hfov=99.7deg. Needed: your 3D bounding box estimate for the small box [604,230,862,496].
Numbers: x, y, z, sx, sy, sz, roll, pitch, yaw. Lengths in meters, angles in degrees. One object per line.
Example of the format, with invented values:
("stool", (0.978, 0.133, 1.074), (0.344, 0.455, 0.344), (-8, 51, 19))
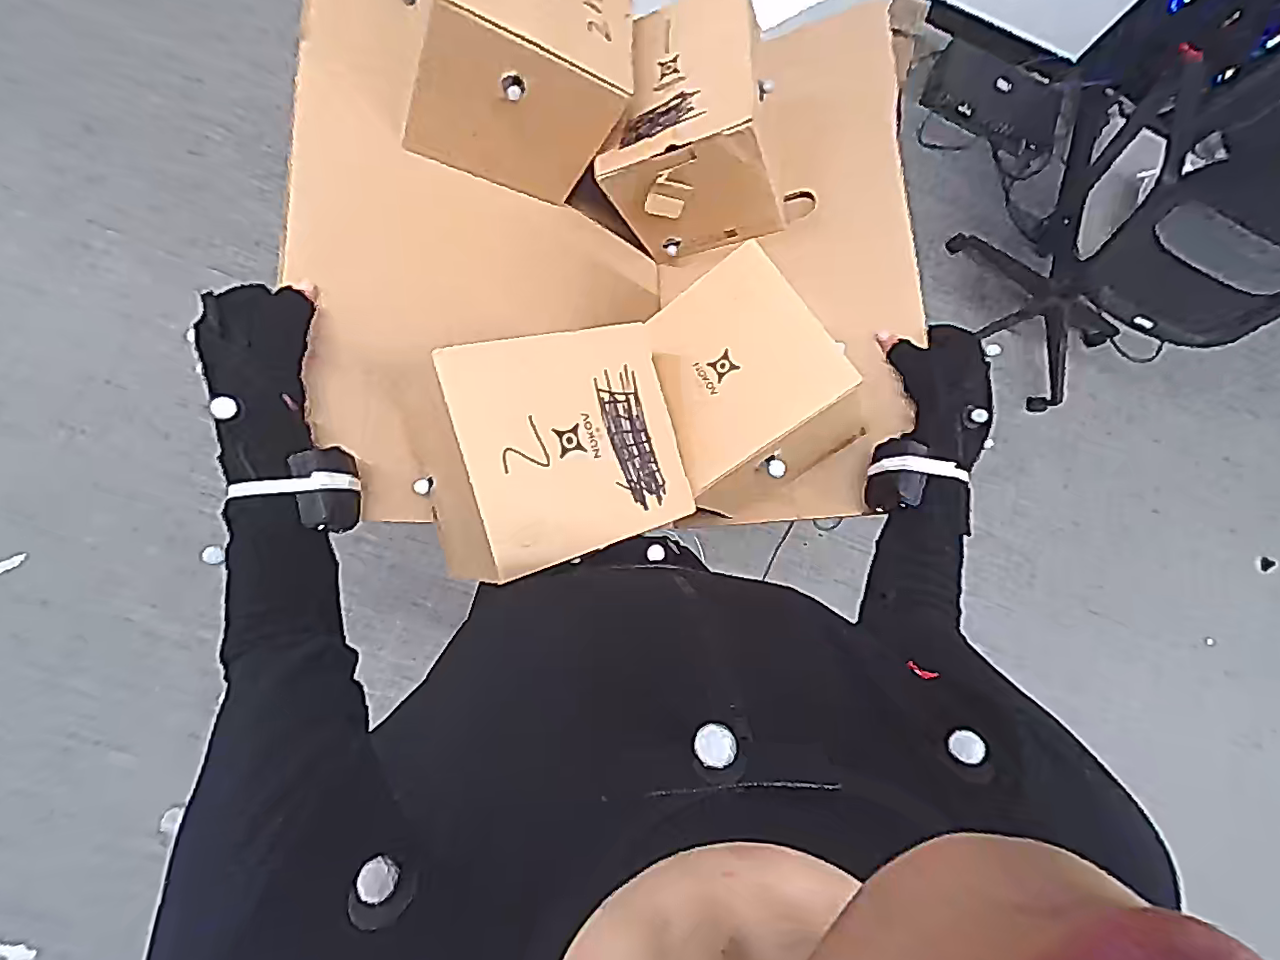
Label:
("small box", (0.101, -0.099, 0.545), (0.179, 0.176, 0.168), (-36, 70, 17))
